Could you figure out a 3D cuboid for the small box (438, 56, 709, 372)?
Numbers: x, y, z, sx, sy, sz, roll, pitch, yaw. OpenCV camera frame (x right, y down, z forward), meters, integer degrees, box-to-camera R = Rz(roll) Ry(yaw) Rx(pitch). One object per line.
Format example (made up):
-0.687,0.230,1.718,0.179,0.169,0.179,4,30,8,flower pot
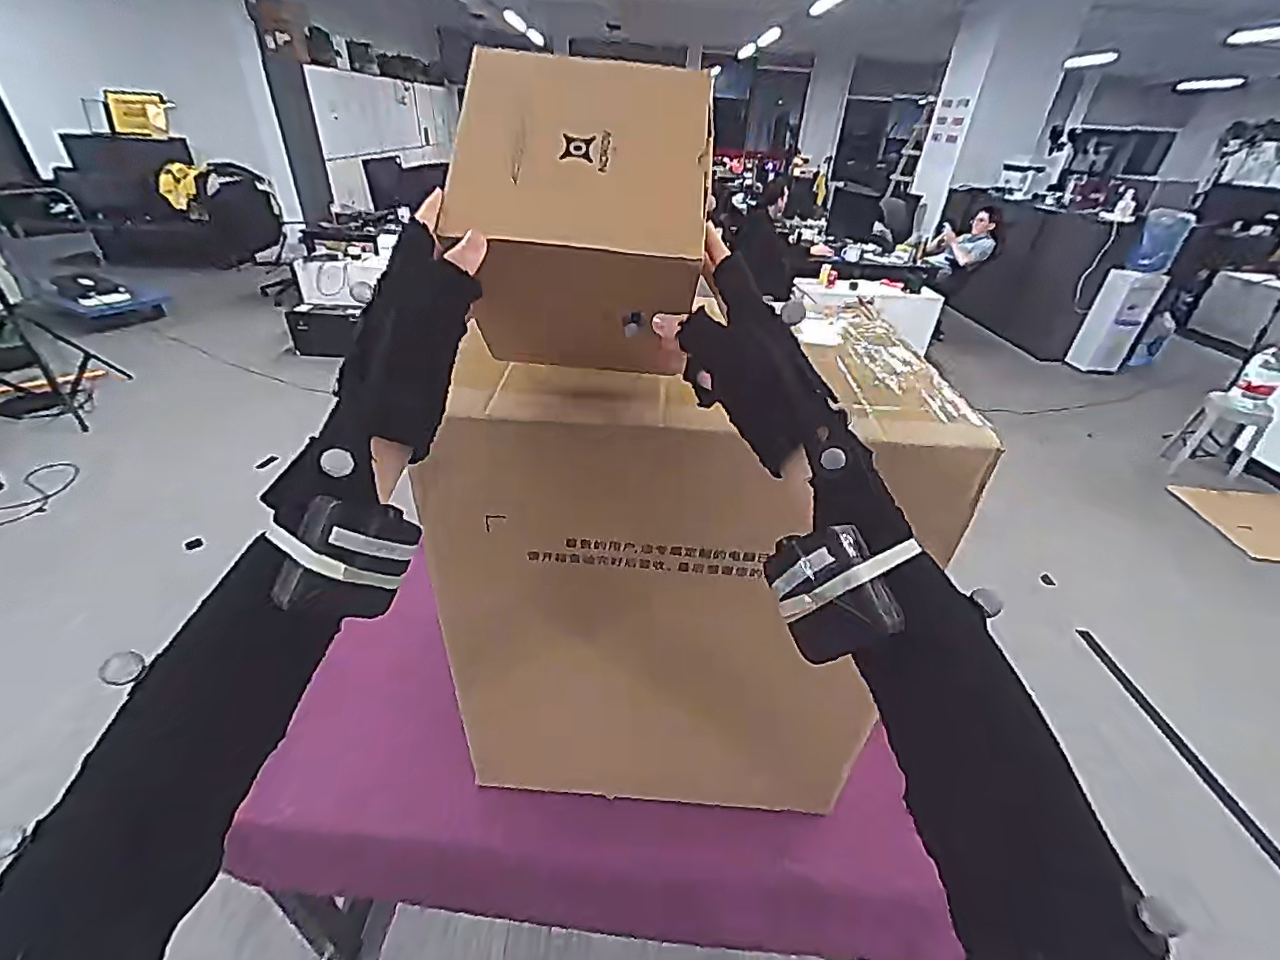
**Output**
-0.043,-0.203,0.452,0.179,0.176,0.168,3,72,-1,small box
